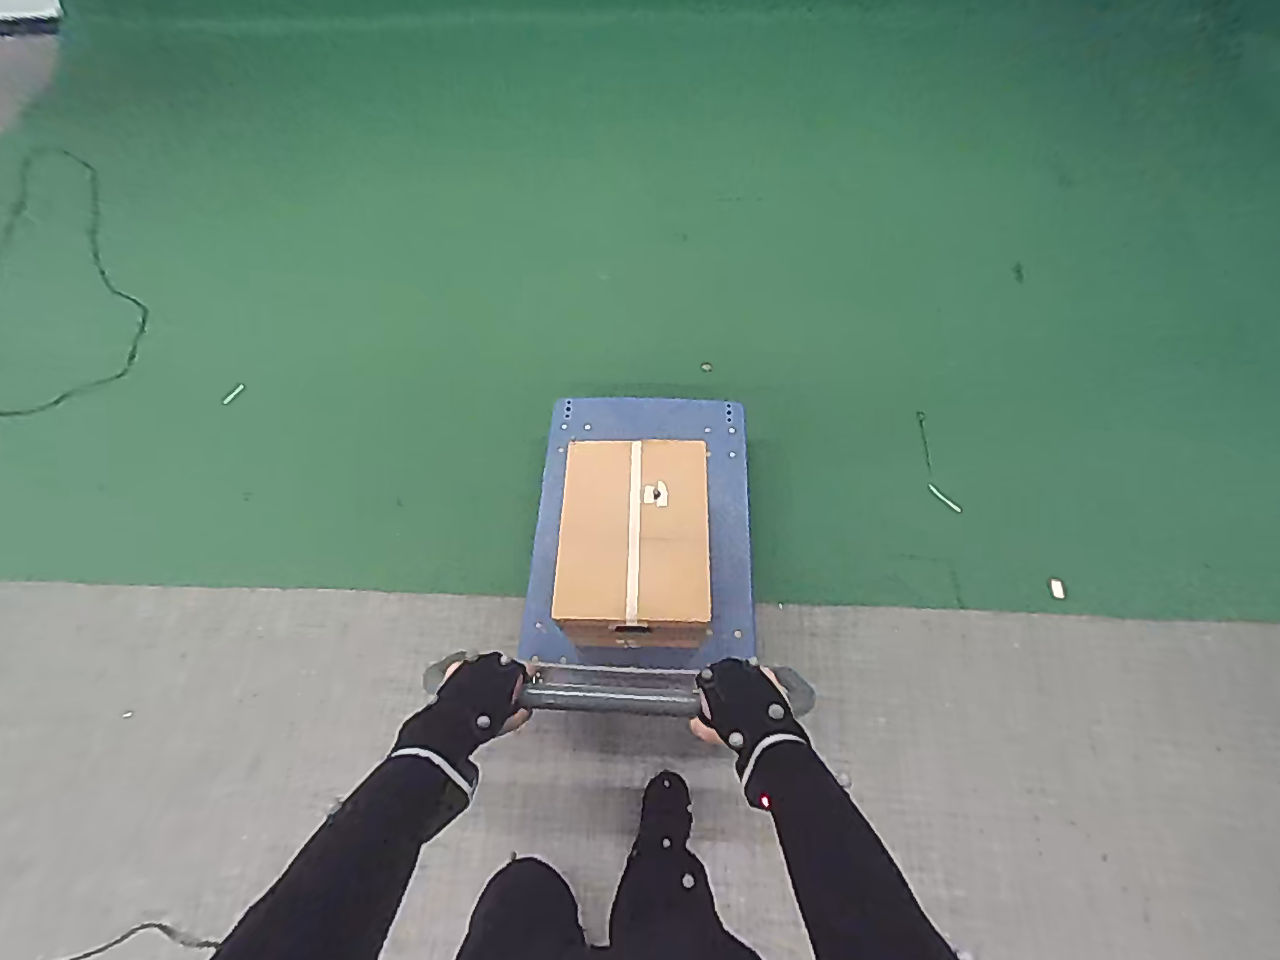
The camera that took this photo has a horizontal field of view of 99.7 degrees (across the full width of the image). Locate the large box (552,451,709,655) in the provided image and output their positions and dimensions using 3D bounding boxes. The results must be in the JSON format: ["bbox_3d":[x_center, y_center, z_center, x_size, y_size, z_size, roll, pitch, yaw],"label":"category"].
[{"bbox_3d":[-0.011,0.182,1.272,0.320,0.320,0.408,0,63,2],"label":"large box"}]
